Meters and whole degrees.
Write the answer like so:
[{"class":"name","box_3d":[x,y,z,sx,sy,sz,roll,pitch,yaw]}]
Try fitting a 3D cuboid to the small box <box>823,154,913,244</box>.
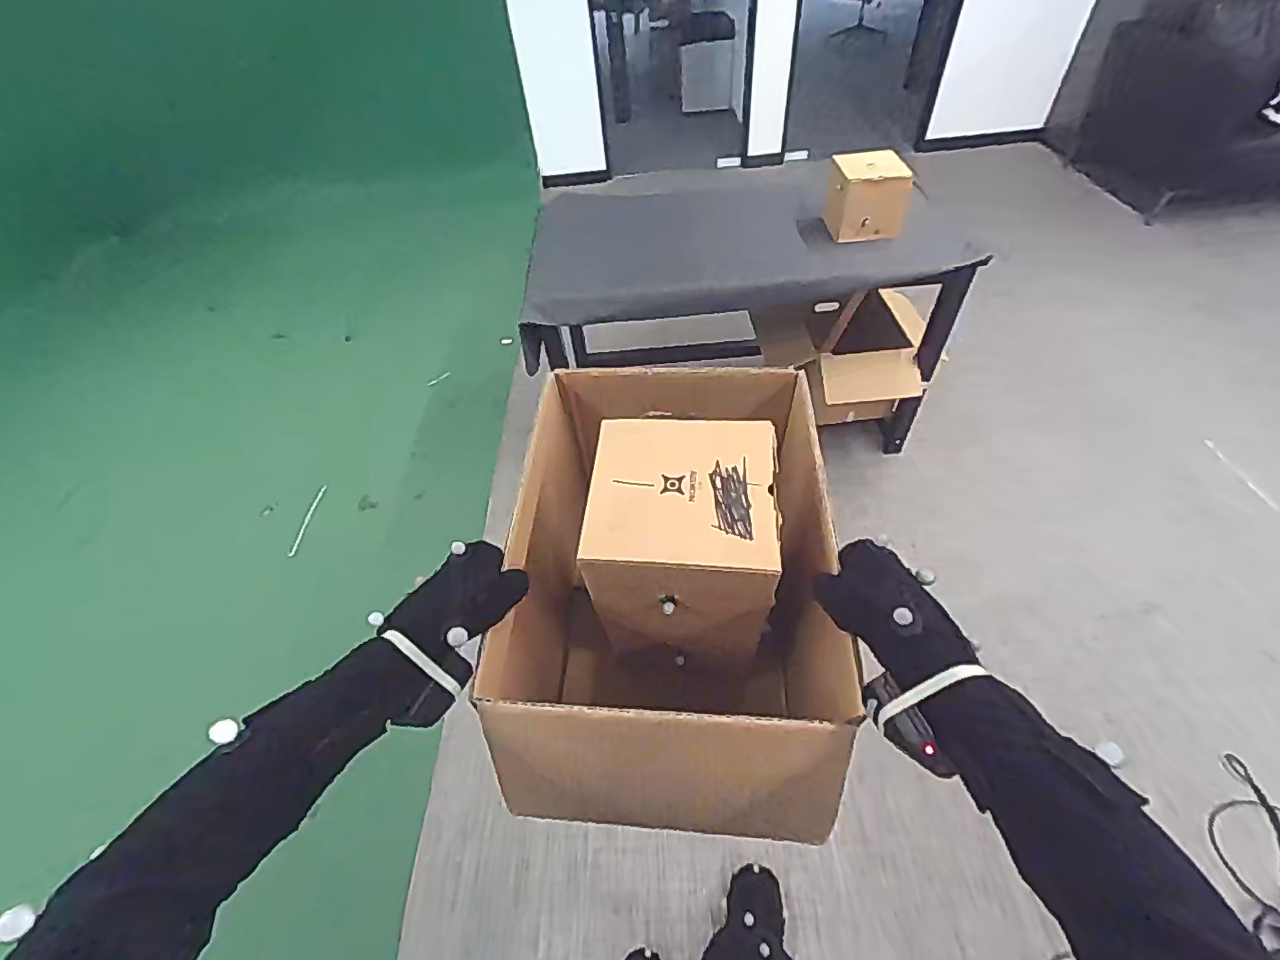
[{"class":"small box","box_3d":[0.619,-0.776,1.496,0.168,0.176,0.179,-4,49,2]}]
